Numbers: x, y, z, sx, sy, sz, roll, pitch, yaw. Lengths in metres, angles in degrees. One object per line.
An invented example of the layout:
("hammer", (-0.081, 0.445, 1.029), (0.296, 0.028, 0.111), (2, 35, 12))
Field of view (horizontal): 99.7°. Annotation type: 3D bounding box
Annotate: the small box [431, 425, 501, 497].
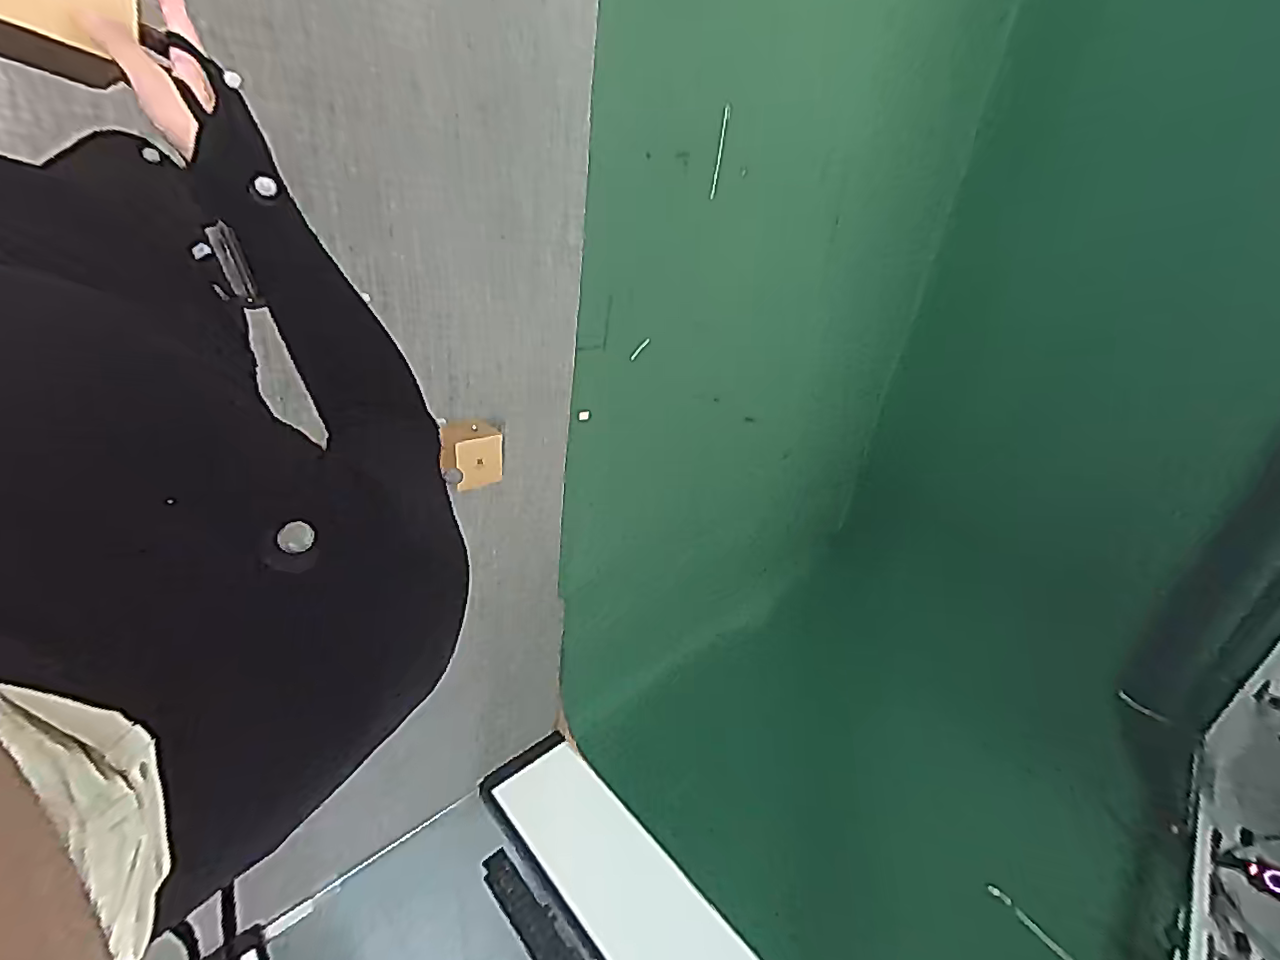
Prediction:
("small box", (-0.577, -0.072, 1.792), (0.168, 0.176, 0.179), (-19, 127, -41))
